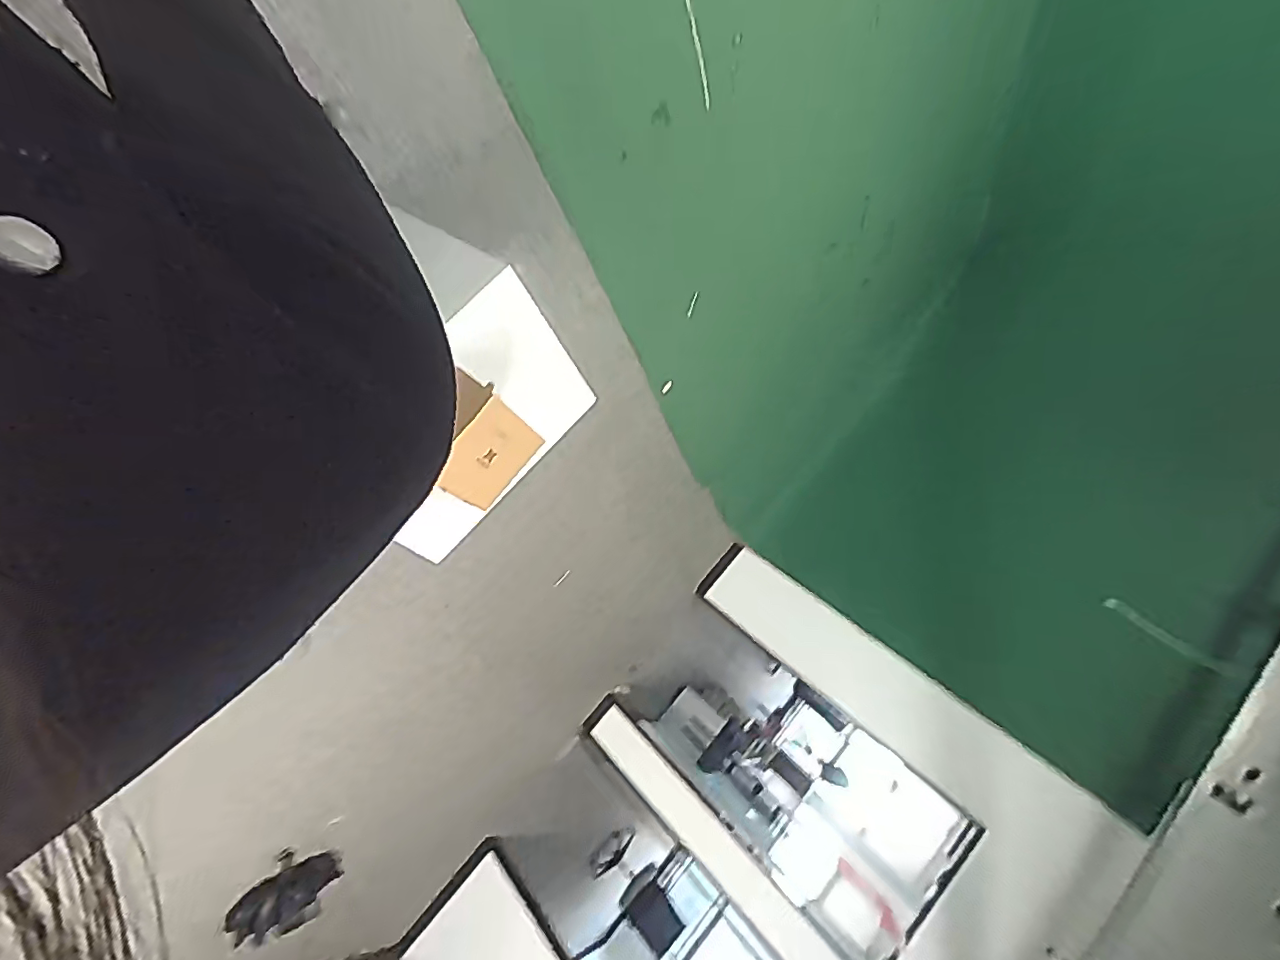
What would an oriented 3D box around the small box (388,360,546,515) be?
[{"bbox_3d":[-0.306,-0.074,0.942,0.179,0.176,0.168,-52,148,-4],"label":"small box"}]
